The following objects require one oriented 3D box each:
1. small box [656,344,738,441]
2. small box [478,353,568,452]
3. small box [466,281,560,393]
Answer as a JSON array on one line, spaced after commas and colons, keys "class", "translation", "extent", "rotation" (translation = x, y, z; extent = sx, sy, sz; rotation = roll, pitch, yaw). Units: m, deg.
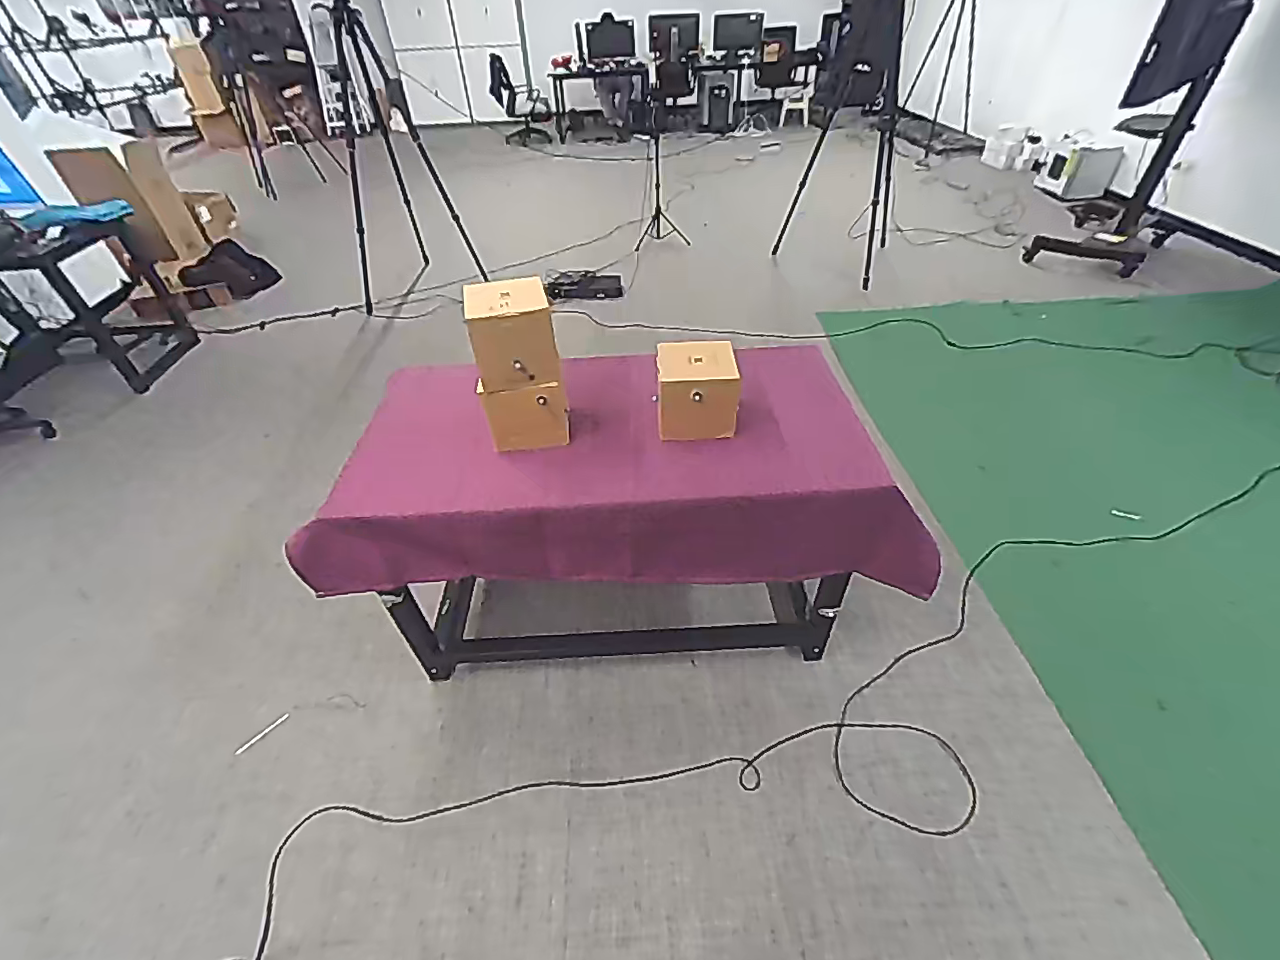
[{"class": "small box", "translation": [0.129, -0.203, 1.270], "extent": [0.179, 0.176, 0.168], "rotation": [-1, 43, 1]}, {"class": "small box", "translation": [-0.266, -0.180, 1.271], "extent": [0.179, 0.176, 0.168], "rotation": [-5, 42, -4]}, {"class": "small box", "translation": [-0.274, -0.310, 1.169], "extent": [0.168, 0.176, 0.179], "rotation": [-12, 43, -9]}]
